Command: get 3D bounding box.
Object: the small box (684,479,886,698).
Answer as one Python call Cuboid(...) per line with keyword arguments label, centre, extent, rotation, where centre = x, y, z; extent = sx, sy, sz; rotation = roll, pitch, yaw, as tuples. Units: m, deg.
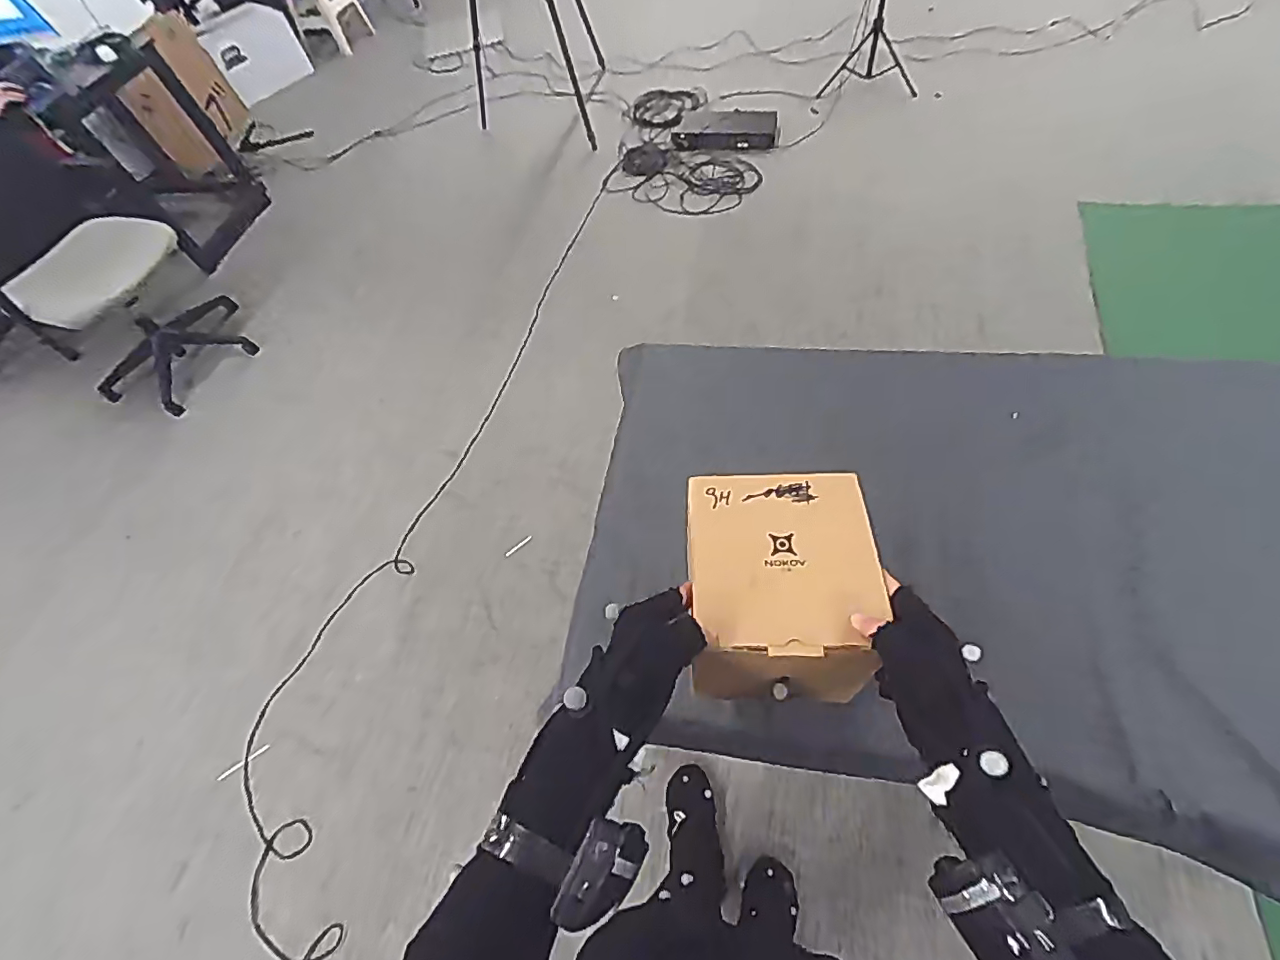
Cuboid(label="small box", centre=(0.132, 0.119, 0.558), extent=(0.168, 0.176, 0.179), rotation=(-2, 55, 5))
